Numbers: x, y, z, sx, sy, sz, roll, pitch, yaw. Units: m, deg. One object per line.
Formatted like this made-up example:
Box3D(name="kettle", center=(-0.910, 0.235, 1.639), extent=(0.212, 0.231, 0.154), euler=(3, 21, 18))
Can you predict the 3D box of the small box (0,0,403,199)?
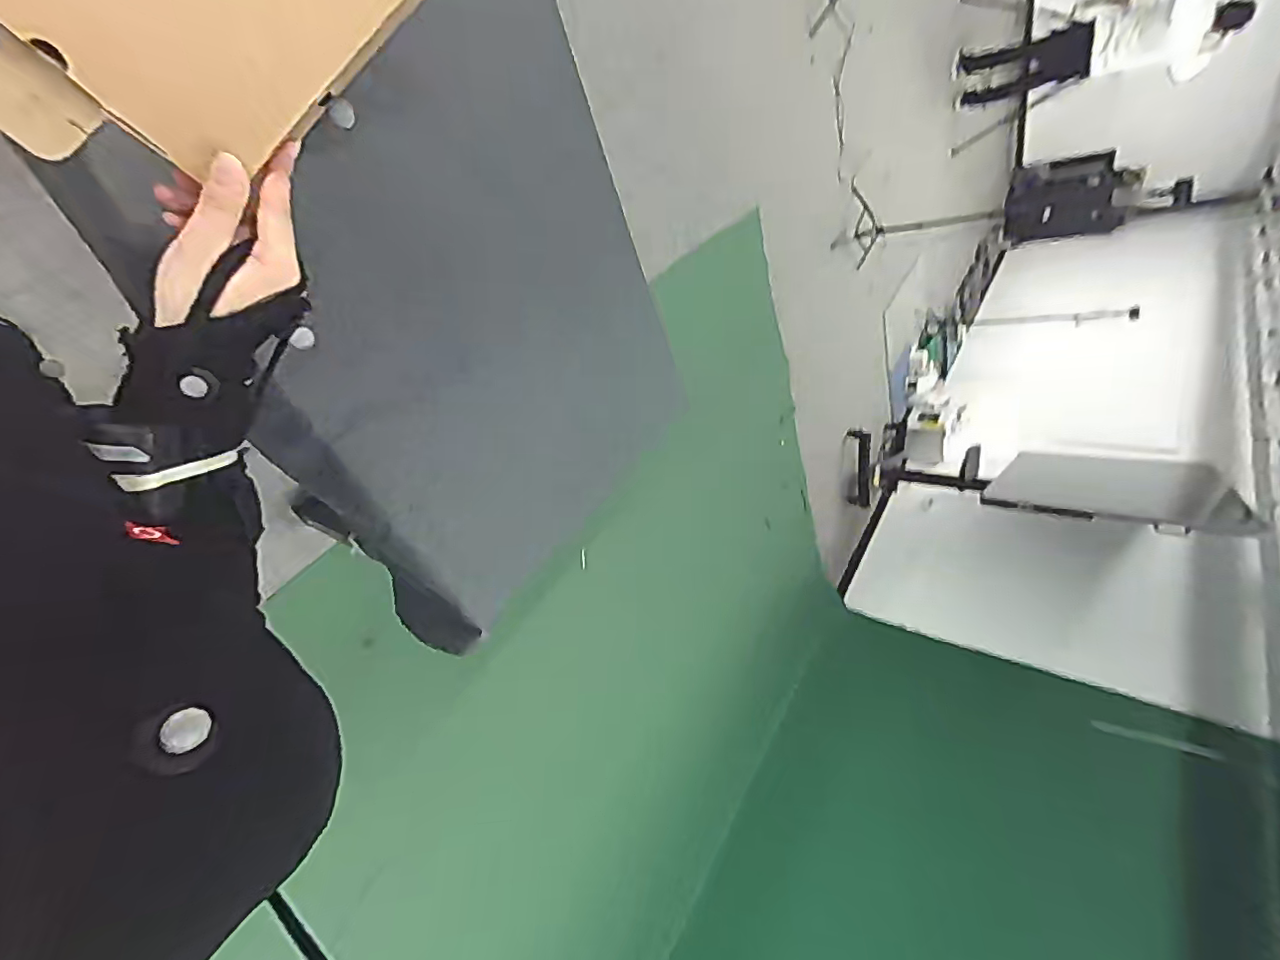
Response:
Box3D(name="small box", center=(-0.237, -0.300, 0.290), extent=(0.179, 0.176, 0.168), euler=(-37, 133, 14))
